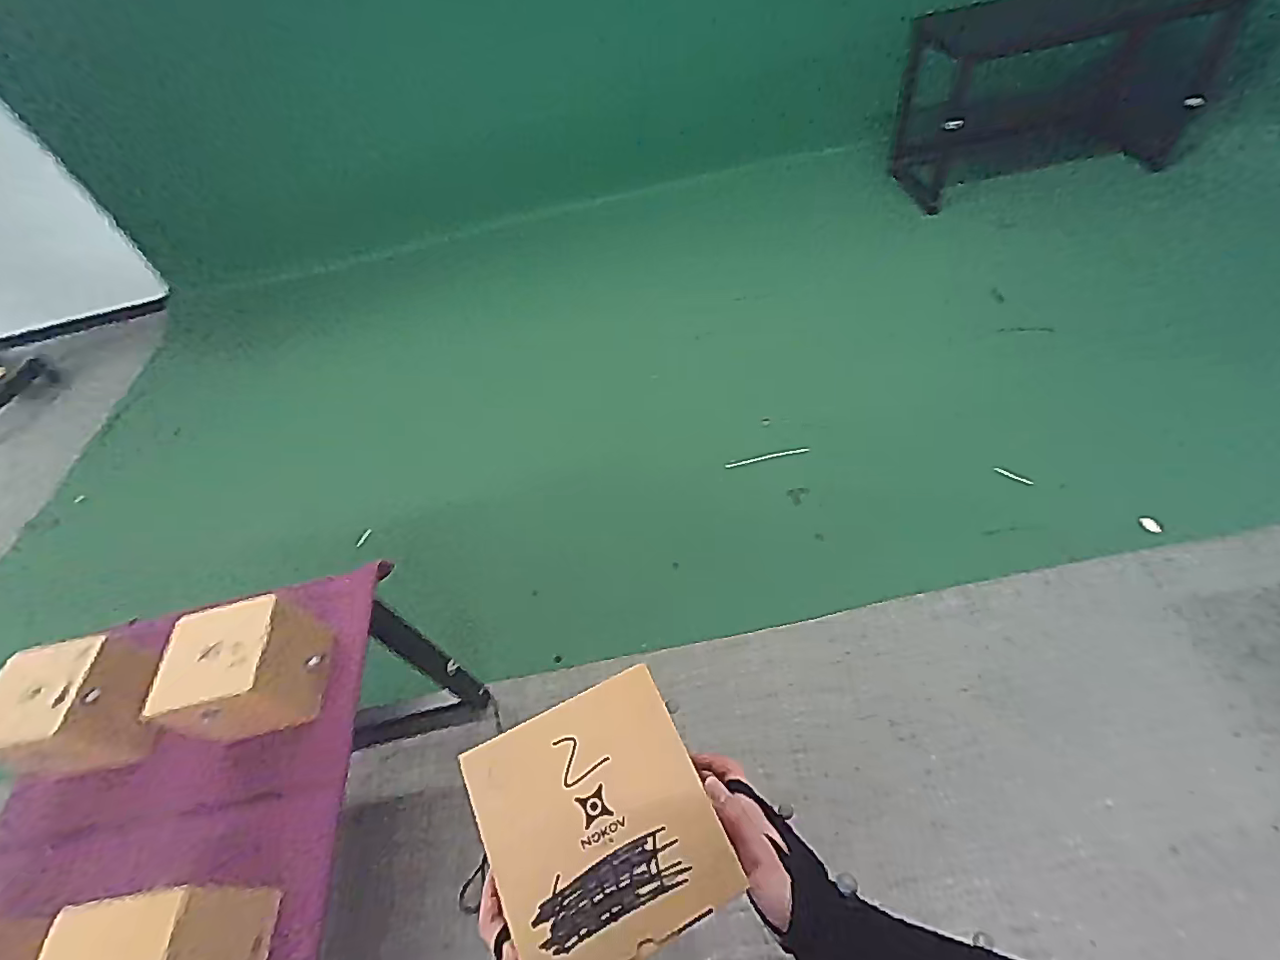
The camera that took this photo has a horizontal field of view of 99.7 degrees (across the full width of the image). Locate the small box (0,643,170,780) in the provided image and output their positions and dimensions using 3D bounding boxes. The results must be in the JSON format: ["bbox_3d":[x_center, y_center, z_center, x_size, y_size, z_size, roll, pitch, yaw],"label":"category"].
[{"bbox_3d":[-0.967,0.410,0.947,0.179,0.176,0.168,-13,51,3],"label":"small box"}]

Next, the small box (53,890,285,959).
[{"bbox_3d":[-0.604,0.637,0.682,0.179,0.176,0.168,-13,50,4],"label":"small box"}]

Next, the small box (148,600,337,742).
[{"bbox_3d":[-0.666,0.335,0.932,0.179,0.176,0.168,-14,52,1],"label":"small box"}]
